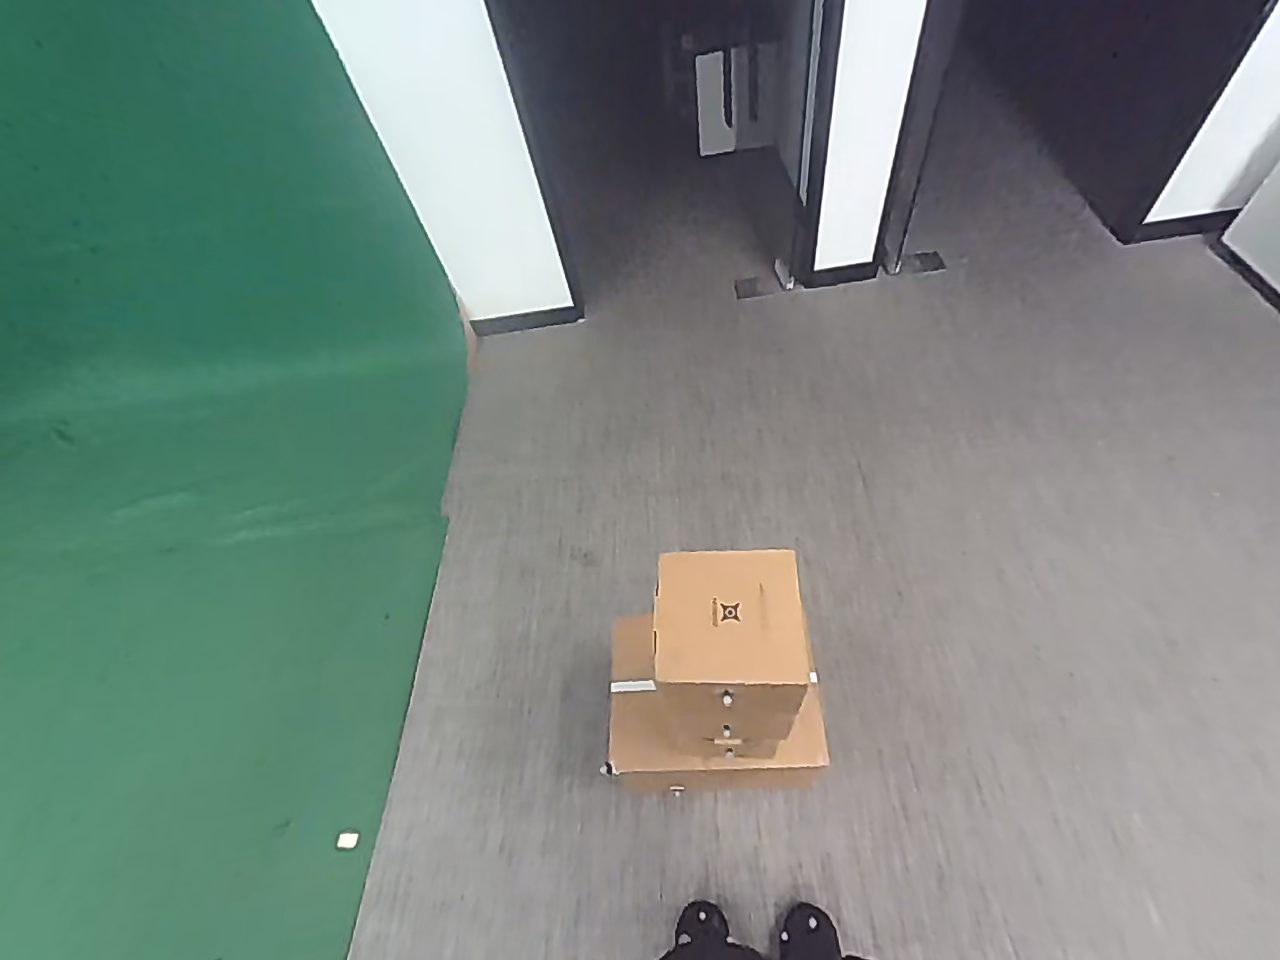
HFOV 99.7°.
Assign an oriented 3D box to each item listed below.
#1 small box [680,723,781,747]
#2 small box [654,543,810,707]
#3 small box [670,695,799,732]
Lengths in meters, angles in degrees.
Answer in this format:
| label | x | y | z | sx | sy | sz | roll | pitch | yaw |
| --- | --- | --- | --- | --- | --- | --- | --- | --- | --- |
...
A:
| label | x | y | z | sx | sy | sz | roll | pitch | yaw |
| --- | --- | --- | --- | --- | --- | --- | --- | --- | --- |
| small box | 0.165 | 0.379 | 0.979 | 0.168 | 0.176 | 0.179 | -3 | 56 | 10 |
| small box | 0.118 | 0.196 | 0.713 | 0.179 | 0.176 | 0.168 | -3 | 56 | 8 |
| small box | 0.144 | 0.288 | 0.843 | 0.179 | 0.176 | 0.168 | -4 | 55 | 10 |
